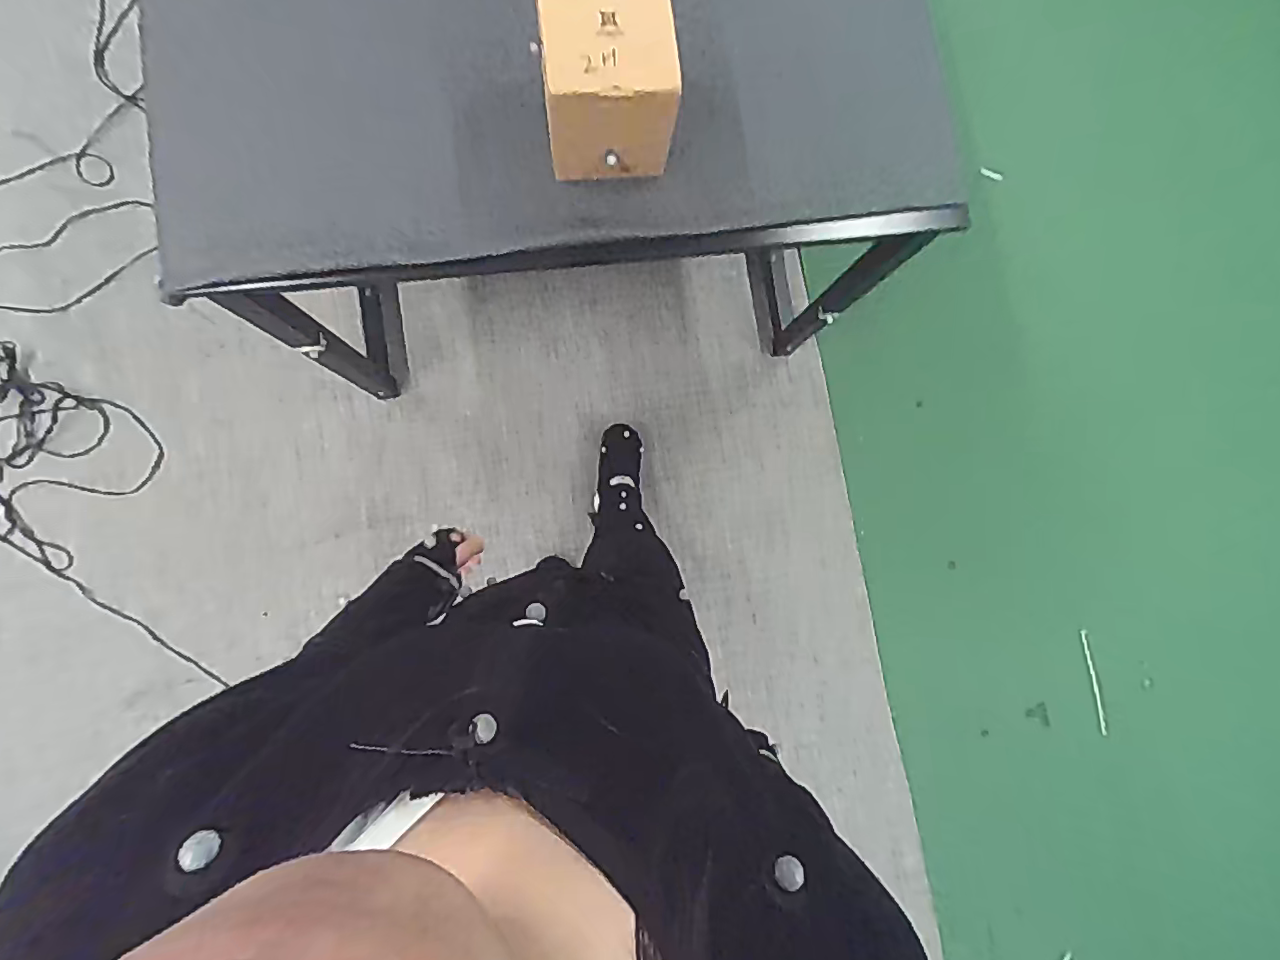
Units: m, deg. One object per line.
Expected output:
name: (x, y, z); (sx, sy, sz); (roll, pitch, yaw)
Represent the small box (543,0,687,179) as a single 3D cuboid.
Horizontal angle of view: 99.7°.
small box: (-0.041, -0.548, 0.739); (0.168, 0.176, 0.179); (-7, 86, -6)
